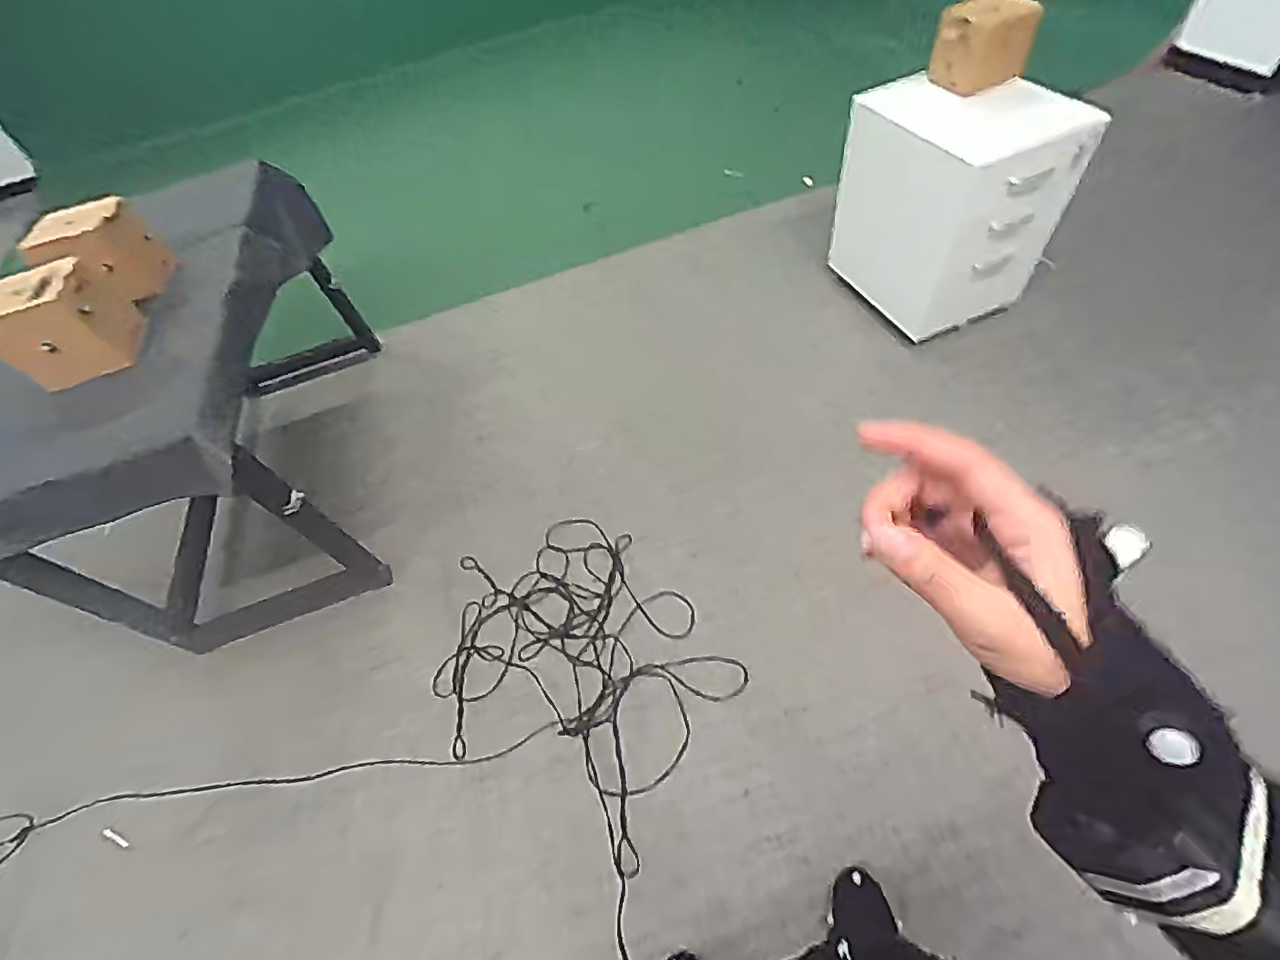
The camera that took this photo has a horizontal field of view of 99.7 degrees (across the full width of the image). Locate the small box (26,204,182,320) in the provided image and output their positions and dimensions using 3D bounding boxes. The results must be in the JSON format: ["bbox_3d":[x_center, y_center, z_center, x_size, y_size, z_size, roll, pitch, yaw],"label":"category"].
[{"bbox_3d":[-1.247,-0.511,1.276,0.179,0.176,0.168,-16,52,1],"label":"small box"}]

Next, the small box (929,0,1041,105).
[{"bbox_3d":[0.942,-1.182,1.498,0.179,0.176,0.168,-24,55,-5],"label":"small box"}]
